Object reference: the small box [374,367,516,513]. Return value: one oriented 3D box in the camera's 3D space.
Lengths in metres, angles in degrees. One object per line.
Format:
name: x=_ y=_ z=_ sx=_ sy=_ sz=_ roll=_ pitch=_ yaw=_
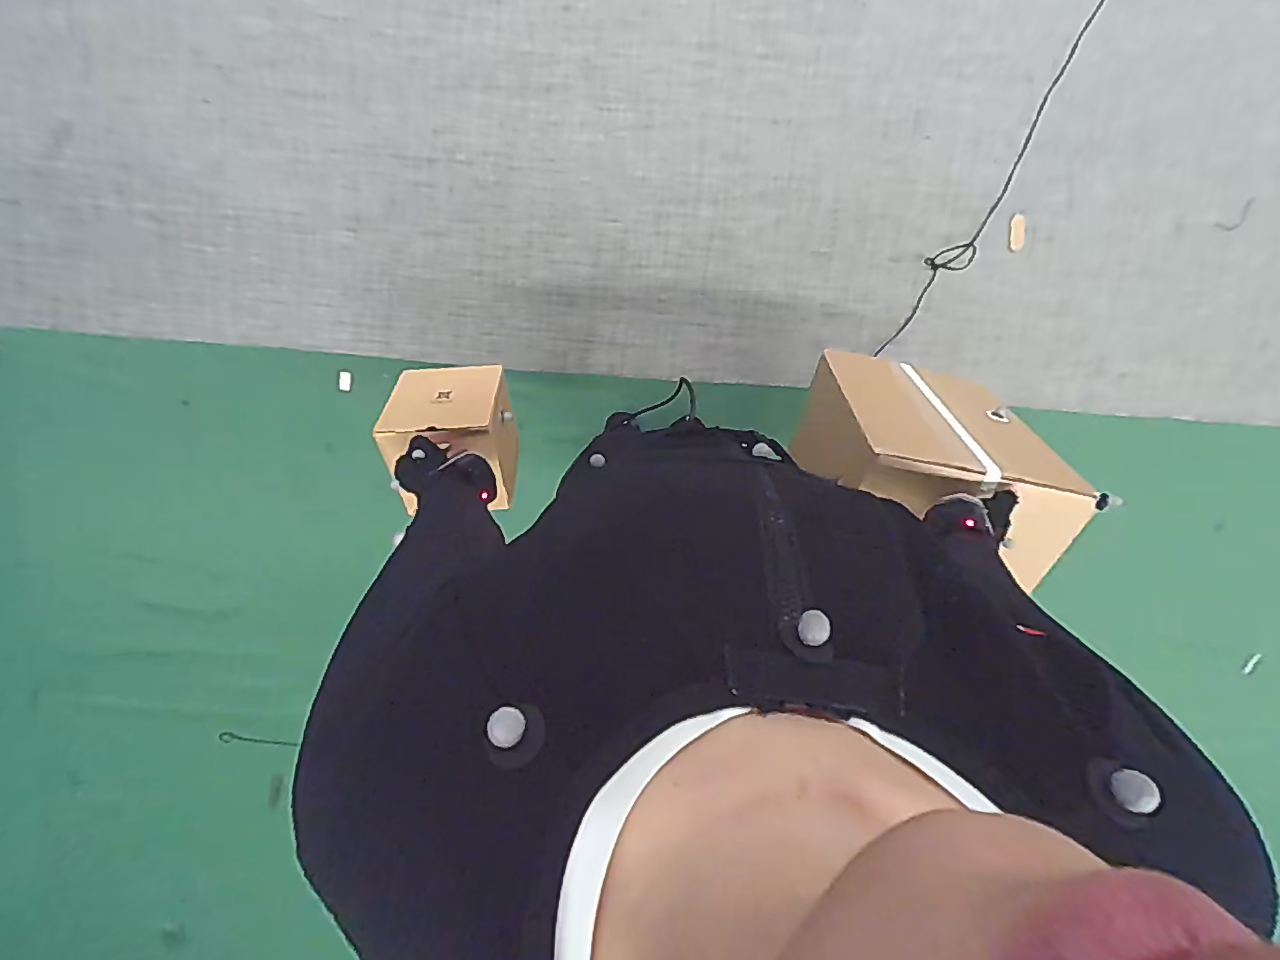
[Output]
small box: x=-0.304 y=-0.066 z=0.889 sx=0.168 sy=0.179 sz=0.176 roll=-4 pitch=133 yaw=-2
